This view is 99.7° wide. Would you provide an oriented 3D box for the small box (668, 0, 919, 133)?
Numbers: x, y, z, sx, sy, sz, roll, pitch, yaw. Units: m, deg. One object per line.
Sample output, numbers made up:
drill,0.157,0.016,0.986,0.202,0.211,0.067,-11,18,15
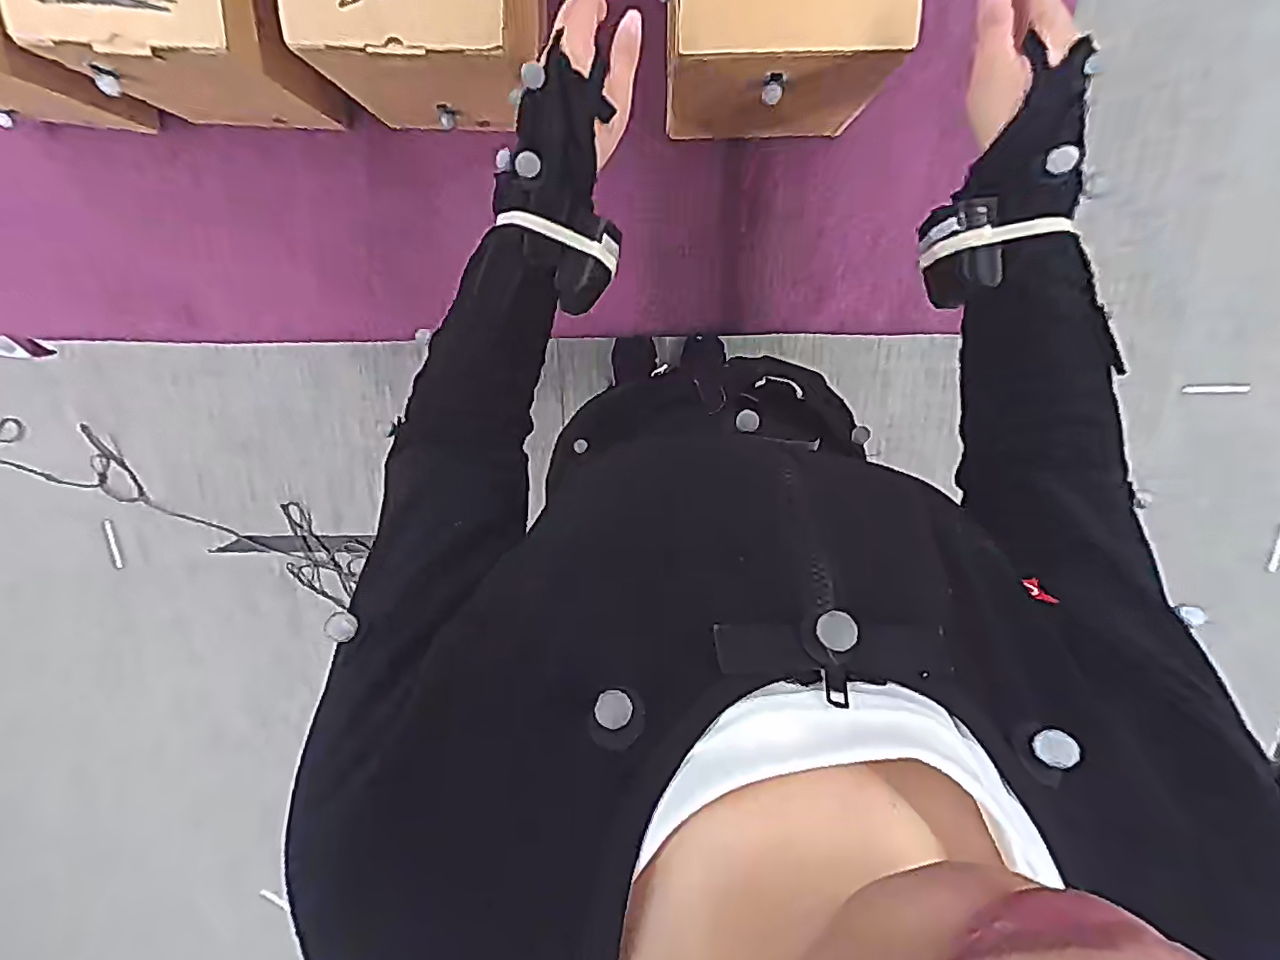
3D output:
small box,0.113,-0.409,0.449,0.179,0.176,0.168,0,105,2
